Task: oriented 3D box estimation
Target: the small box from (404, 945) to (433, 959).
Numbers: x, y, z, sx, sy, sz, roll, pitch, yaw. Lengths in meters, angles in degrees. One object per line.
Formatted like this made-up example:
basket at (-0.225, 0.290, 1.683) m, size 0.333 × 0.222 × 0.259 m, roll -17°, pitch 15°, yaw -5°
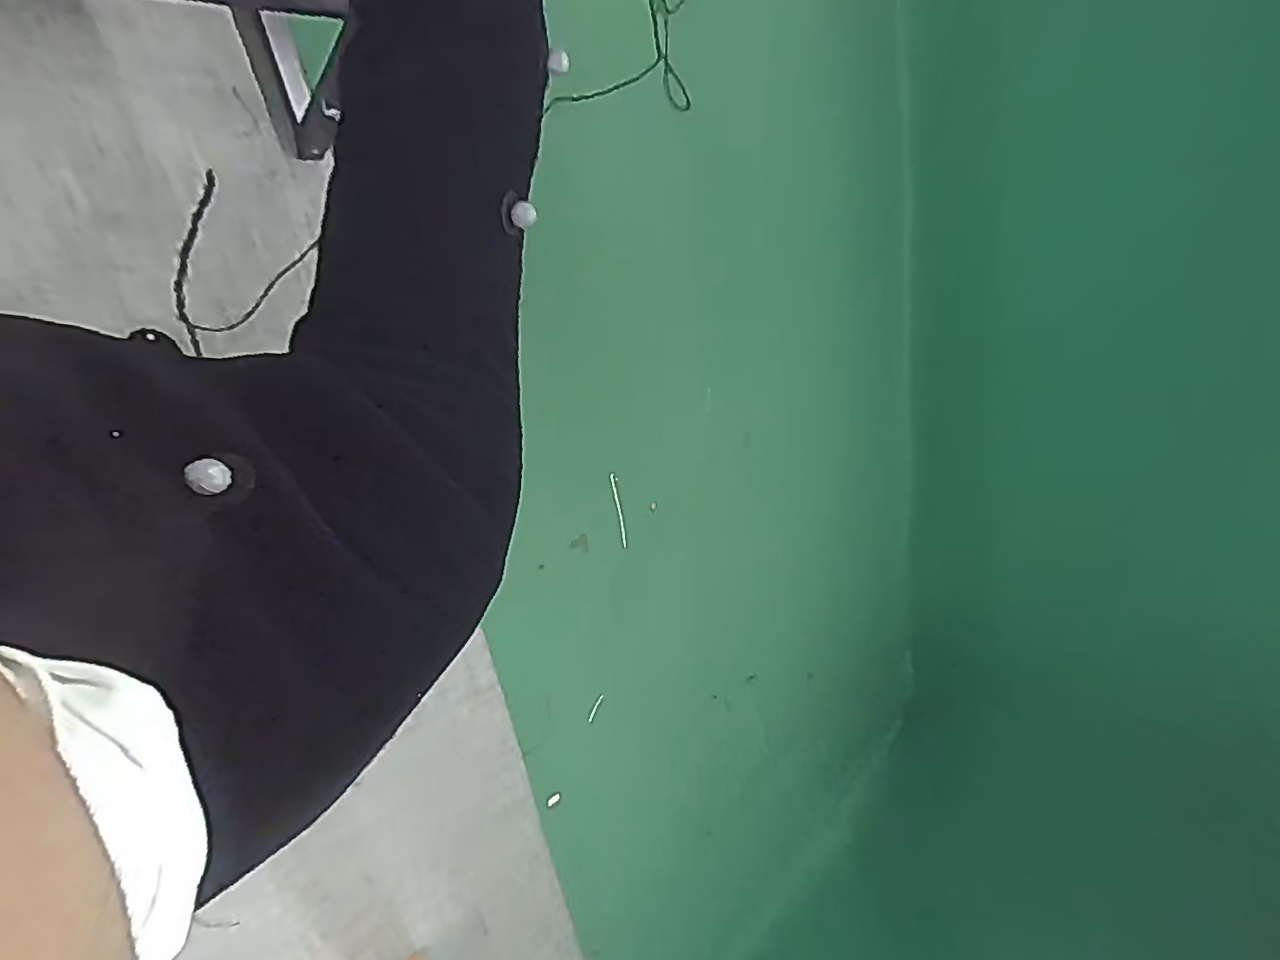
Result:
small box at (-0.748, 1.709, 1.778) m, size 0.179 × 0.176 × 0.168 m, roll -20°, pitch 111°, yaw -35°
